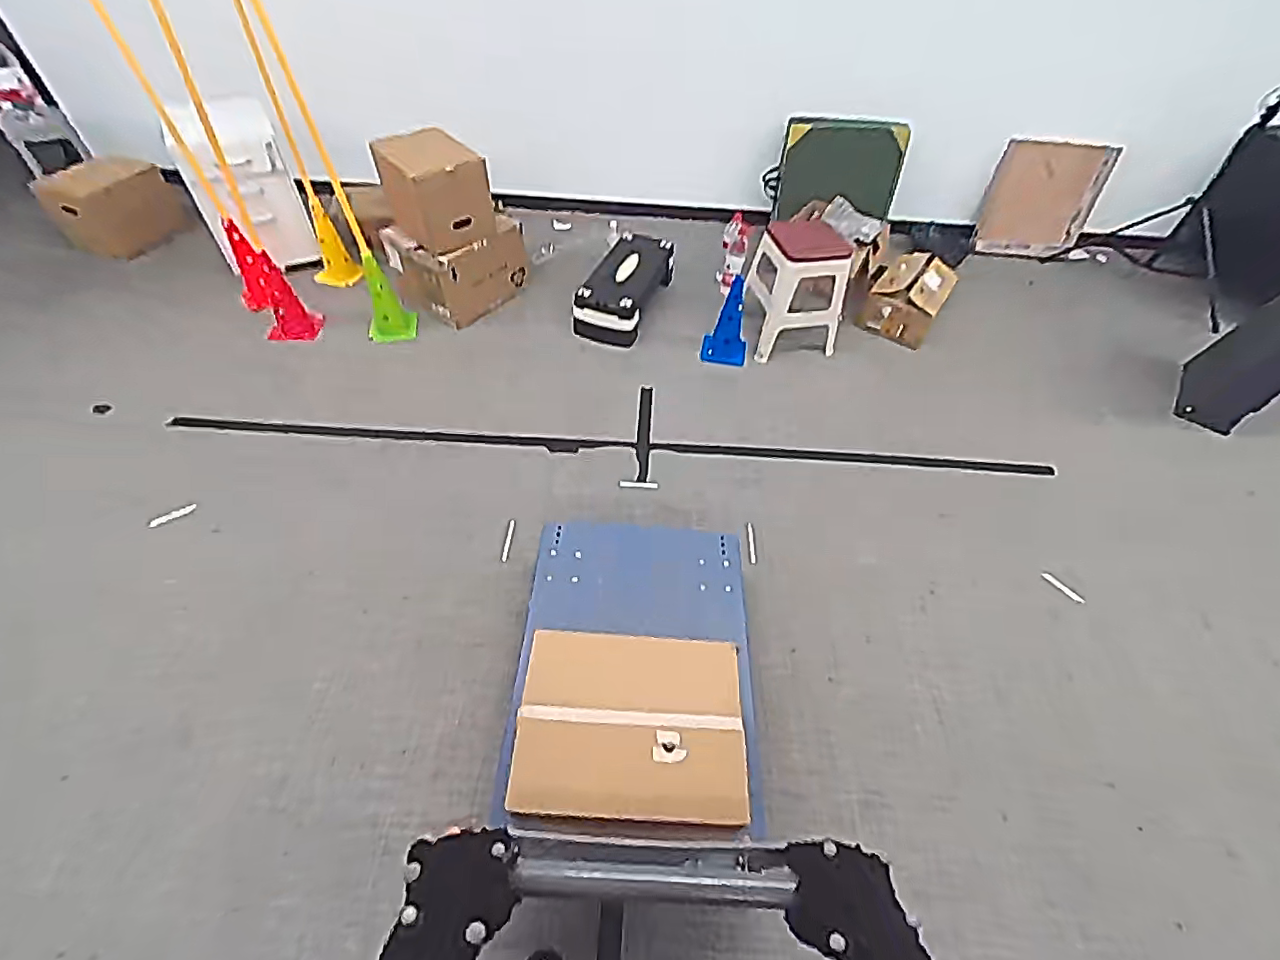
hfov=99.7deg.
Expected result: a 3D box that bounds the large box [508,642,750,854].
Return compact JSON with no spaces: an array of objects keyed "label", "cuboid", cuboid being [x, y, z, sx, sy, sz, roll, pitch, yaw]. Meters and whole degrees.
[{"label":"large box","cuboid":[-0.026,0.542,1.080,0.408,0.320,0.320,4,51,-2]}]
